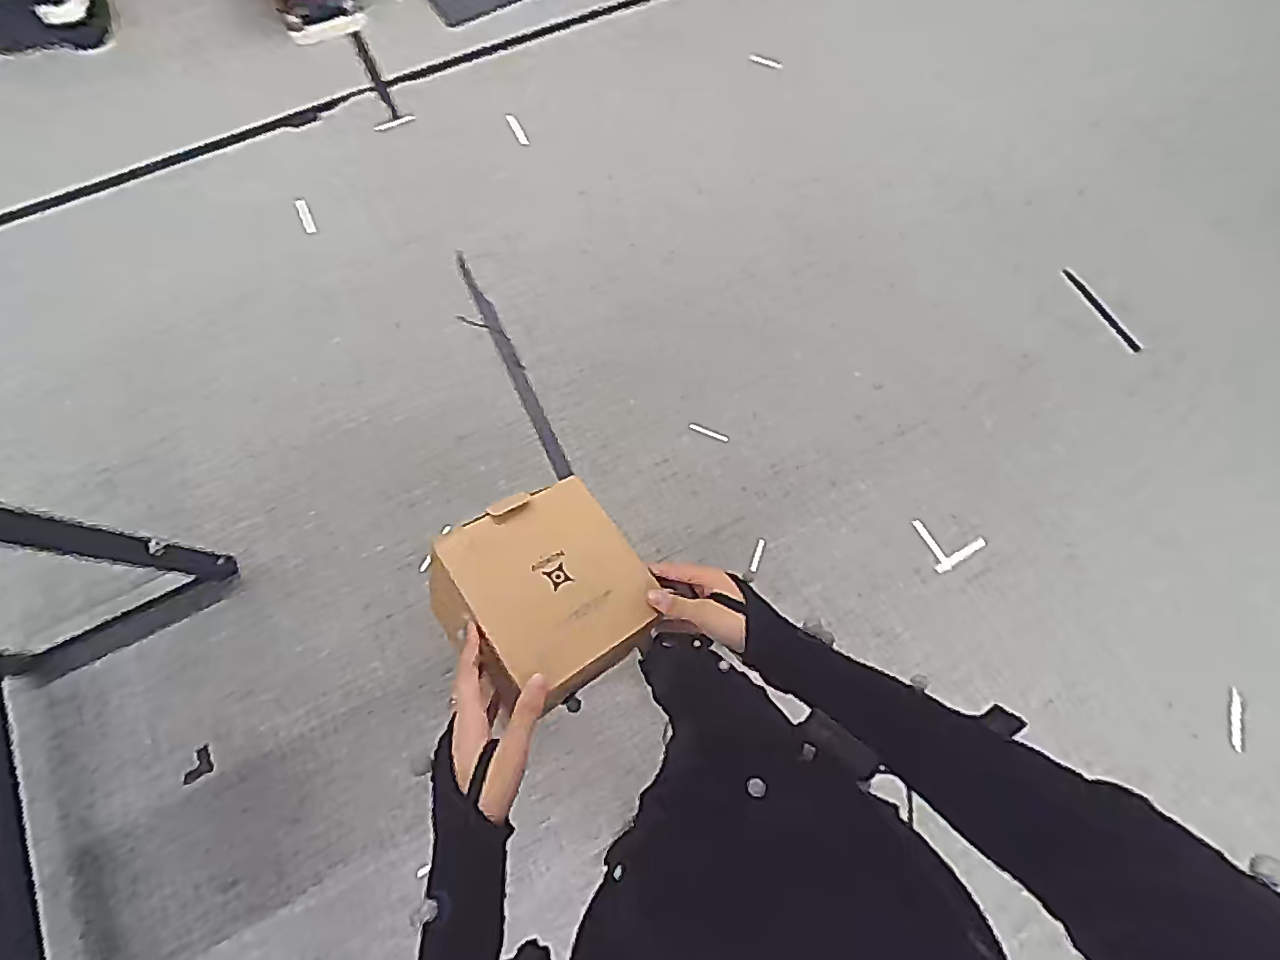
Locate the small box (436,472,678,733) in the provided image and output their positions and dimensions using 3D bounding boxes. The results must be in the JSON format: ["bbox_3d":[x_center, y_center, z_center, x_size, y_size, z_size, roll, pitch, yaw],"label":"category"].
[{"bbox_3d":[-0.098,0.127,0.557,0.168,0.176,0.179,-25,69,-34],"label":"small box"}]
